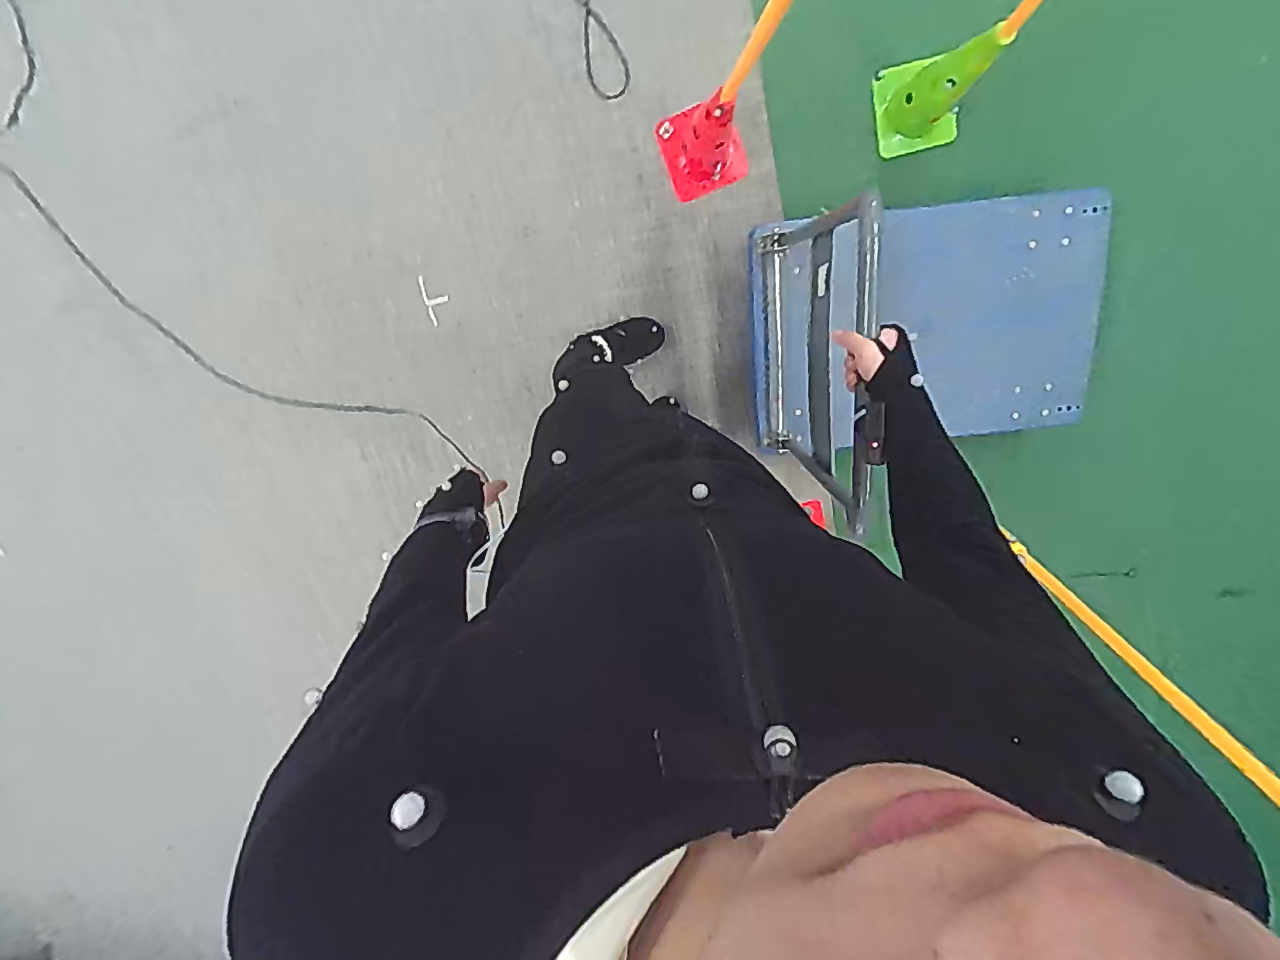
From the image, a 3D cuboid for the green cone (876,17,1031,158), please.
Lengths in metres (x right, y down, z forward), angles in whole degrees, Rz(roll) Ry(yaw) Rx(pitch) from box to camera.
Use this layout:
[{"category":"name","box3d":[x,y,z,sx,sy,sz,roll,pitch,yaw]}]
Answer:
[{"category":"green cone","box3d":[0.706,-0.888,1.189,0.202,0.368,0.200,-14,105,2]}]
